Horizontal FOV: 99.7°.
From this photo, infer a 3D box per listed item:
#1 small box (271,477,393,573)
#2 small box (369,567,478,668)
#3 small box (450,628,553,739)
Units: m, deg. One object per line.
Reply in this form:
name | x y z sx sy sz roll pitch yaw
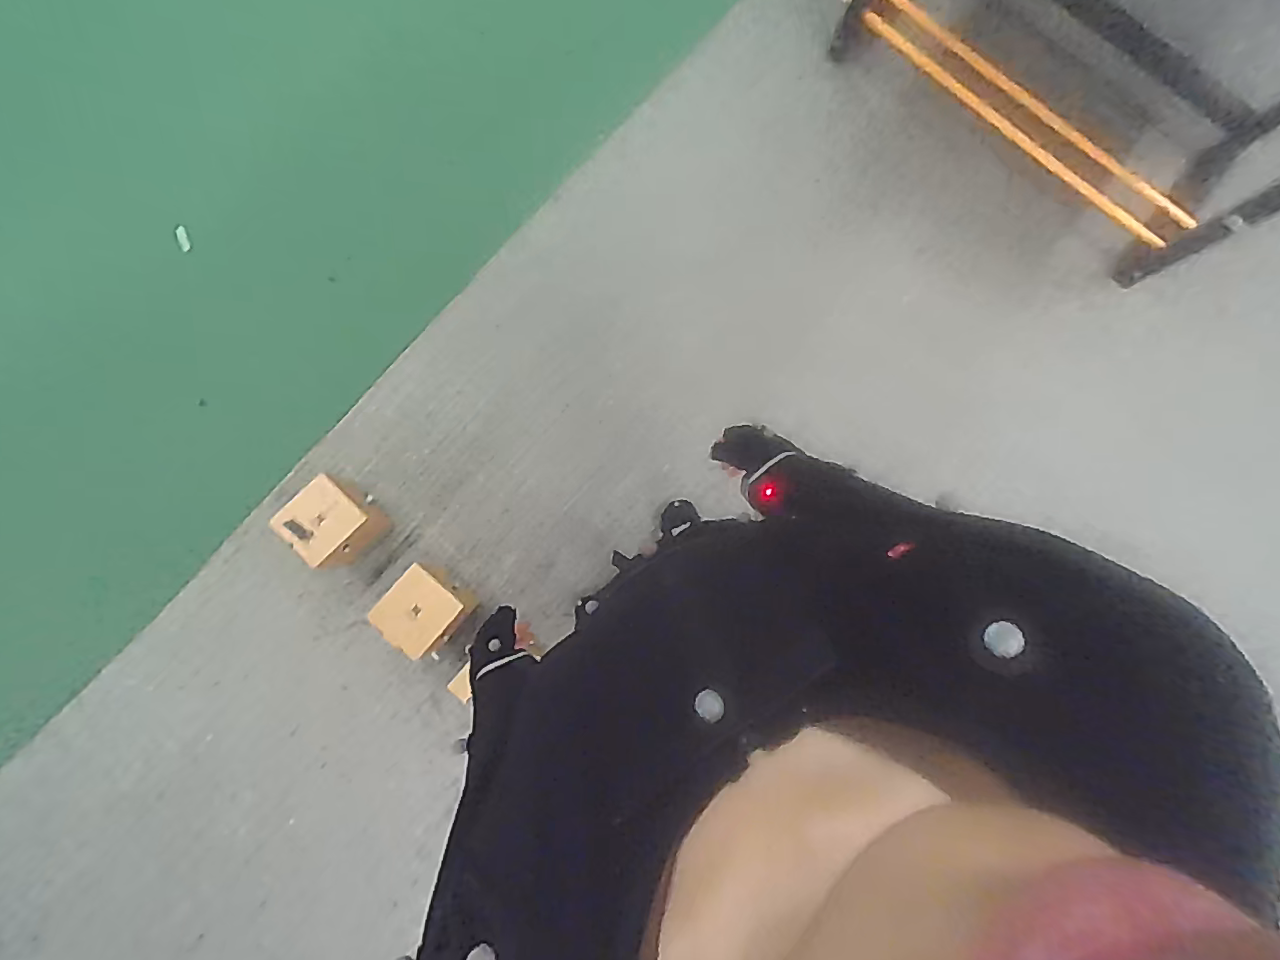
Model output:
small box | -0.775 0.120 1.382 0.168 0.176 0.179 44 82 4
small box | -0.531 0.335 1.364 0.168 0.176 0.179 40 84 2
small box | -0.333 0.496 1.345 0.168 0.176 0.179 41 83 3
